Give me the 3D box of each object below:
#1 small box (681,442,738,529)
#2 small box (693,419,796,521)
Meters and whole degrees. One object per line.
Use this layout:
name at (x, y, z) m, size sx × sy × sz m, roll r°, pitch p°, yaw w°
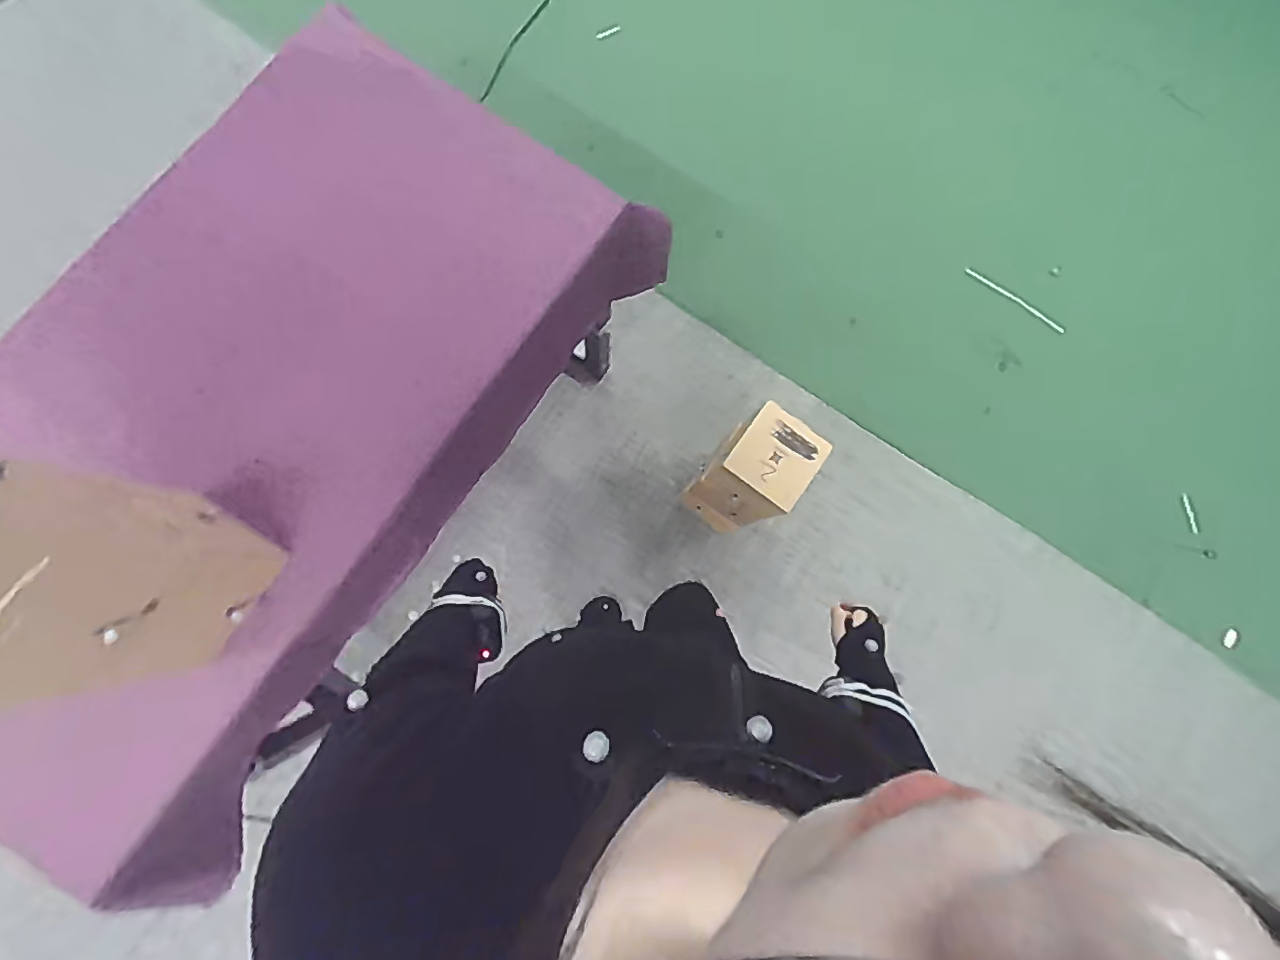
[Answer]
small box at (0.227, 0.018, 1.482) m, size 0.168 × 0.176 × 0.179 m, roll 38°, pitch 79°, yaw 2°
small box at (0.246, -0.015, 1.324) m, size 0.168 × 0.176 × 0.179 m, roll 35°, pitch 79°, yaw 1°
